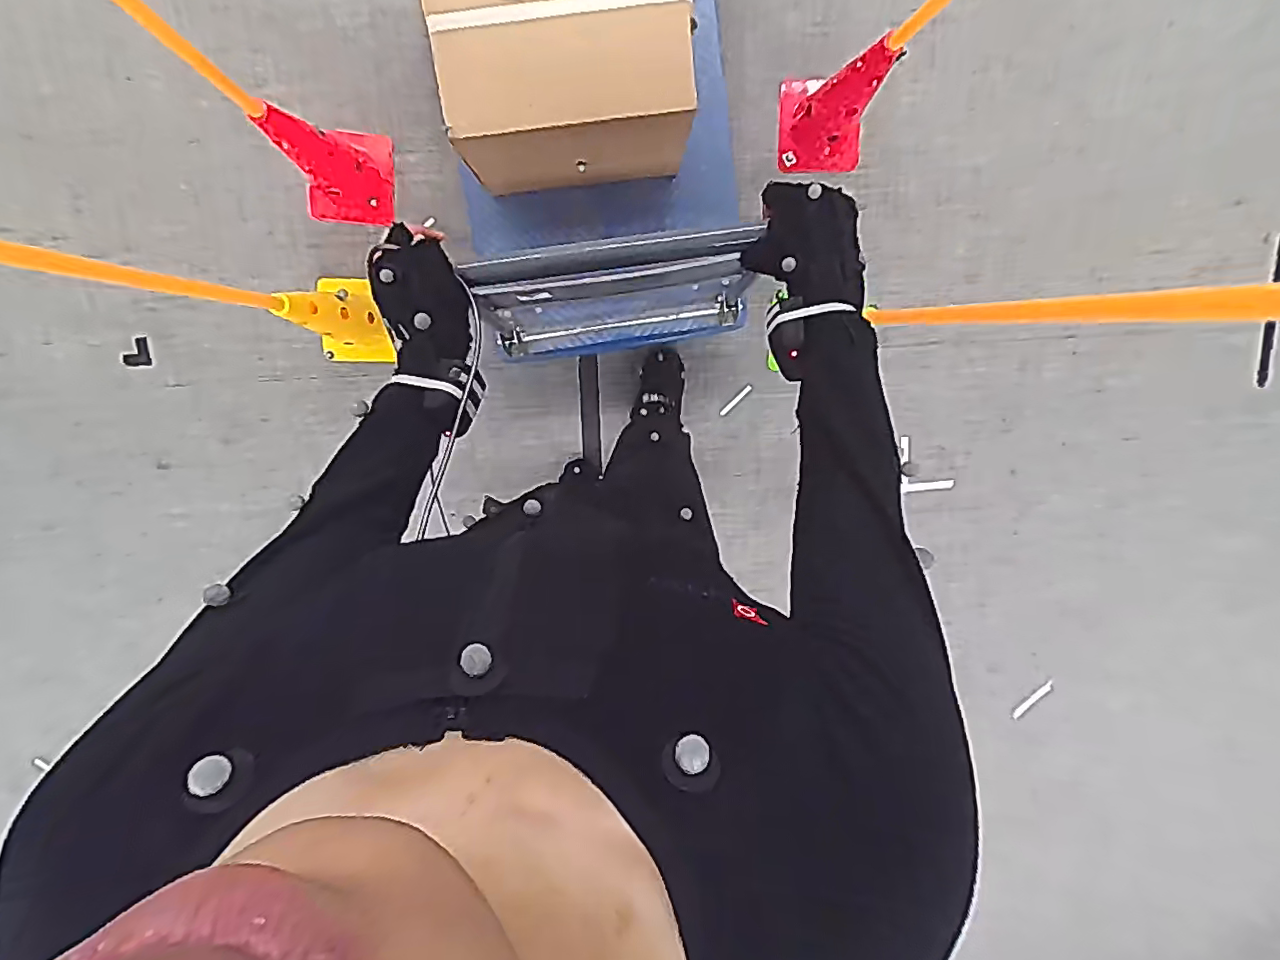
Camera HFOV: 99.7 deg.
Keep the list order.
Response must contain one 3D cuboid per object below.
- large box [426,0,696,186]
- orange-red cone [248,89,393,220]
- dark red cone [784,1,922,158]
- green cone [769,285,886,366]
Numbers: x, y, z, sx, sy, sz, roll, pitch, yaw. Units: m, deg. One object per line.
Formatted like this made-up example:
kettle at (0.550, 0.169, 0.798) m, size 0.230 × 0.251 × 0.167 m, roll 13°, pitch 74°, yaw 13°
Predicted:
large box at (-0.129, -0.761, 0.975) m, size 0.408 × 0.320 × 0.320 m, roll -7°, pitch 103°, yaw 0°
orange-red cone at (-0.677, -0.699, 1.112) m, size 0.198 × 0.360 × 0.199 m, roll 4°, pitch 100°, yaw -4°
dark red cone at (0.449, -0.834, 1.114) m, size 0.201 × 0.394 × 0.202 m, roll -3°, pitch 102°, yaw -4°
green cone at (0.447, -0.363, 1.232) m, size 0.202 × 0.368 × 0.200 m, roll 1°, pitch 102°, yaw -4°
